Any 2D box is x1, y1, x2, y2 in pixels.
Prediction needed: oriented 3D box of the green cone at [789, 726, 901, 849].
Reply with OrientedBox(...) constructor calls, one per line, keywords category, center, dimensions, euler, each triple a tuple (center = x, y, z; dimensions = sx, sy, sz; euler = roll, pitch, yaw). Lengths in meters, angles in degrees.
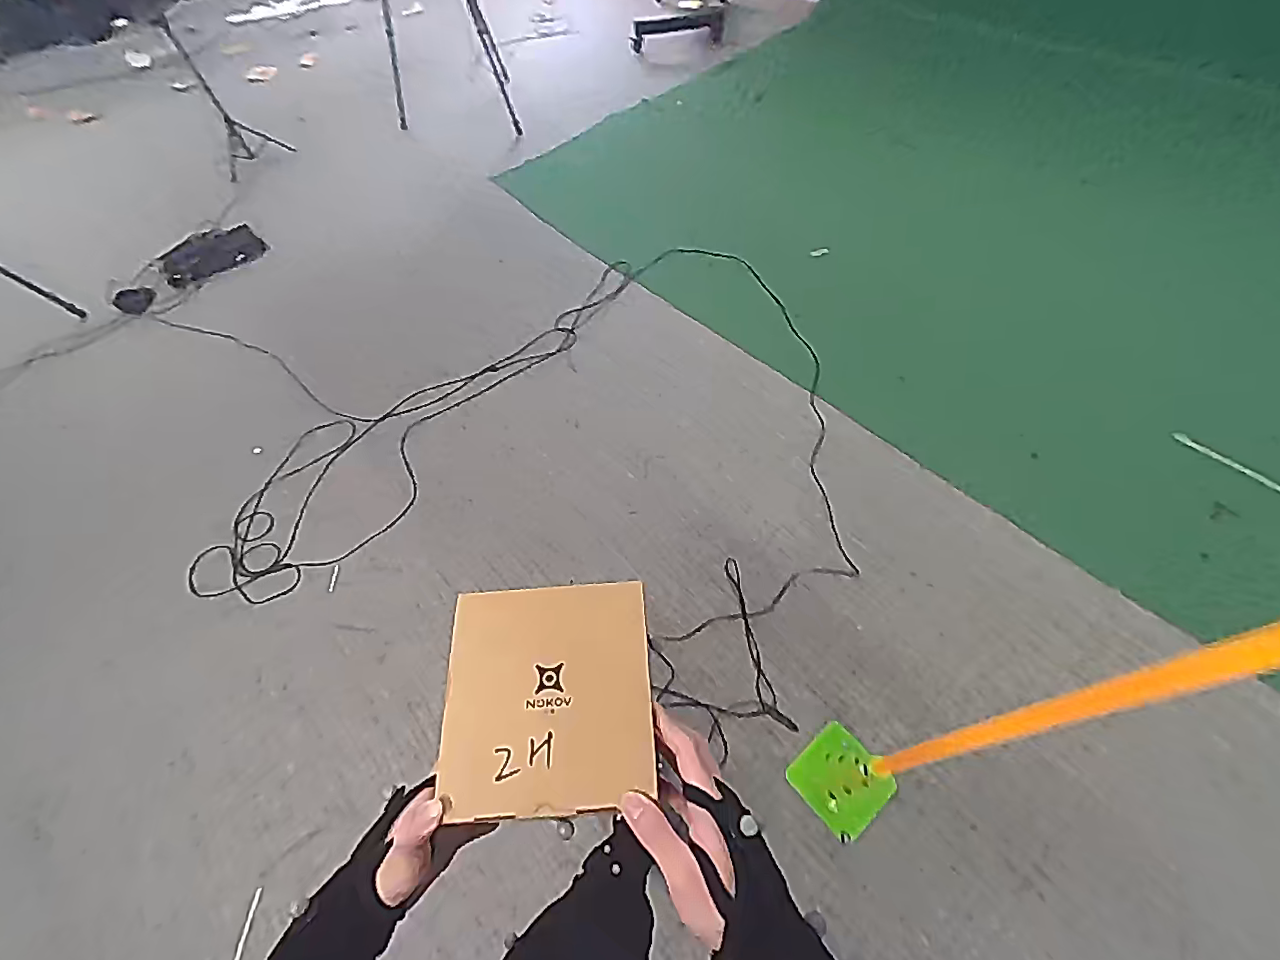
OrientedBox(category="green cone", center=(0.476, 0.637, 1.160), dimensions=(0.200, 0.368, 0.202), euler=(-37, 60, -18))
